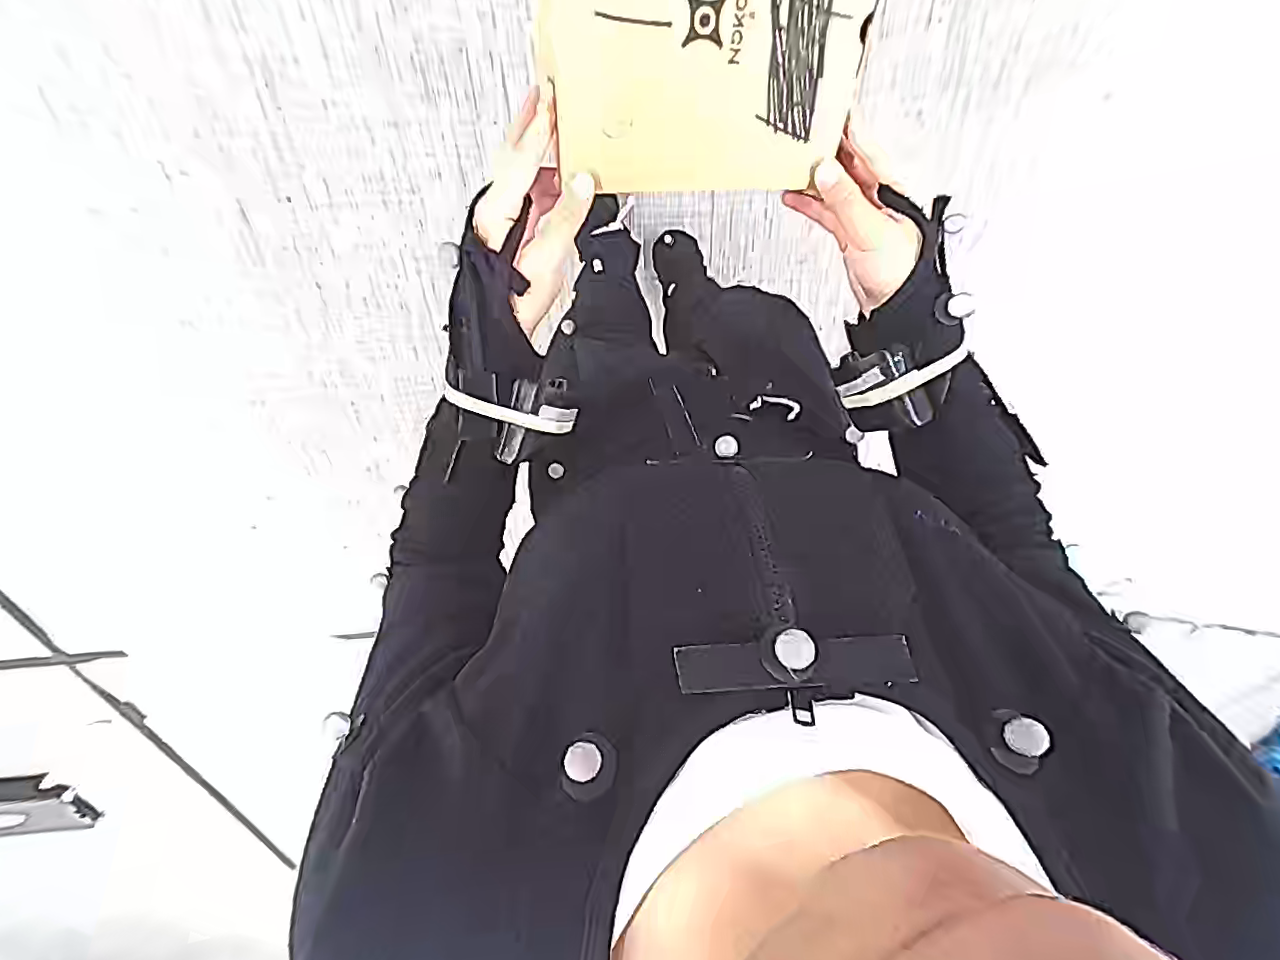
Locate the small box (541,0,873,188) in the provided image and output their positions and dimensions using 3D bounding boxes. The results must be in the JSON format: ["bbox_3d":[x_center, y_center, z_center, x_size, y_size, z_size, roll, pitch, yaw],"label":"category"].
[{"bbox_3d":[0.029,-0.305,0.343,0.179,0.176,0.168,-5,139,-8],"label":"small box"}]
